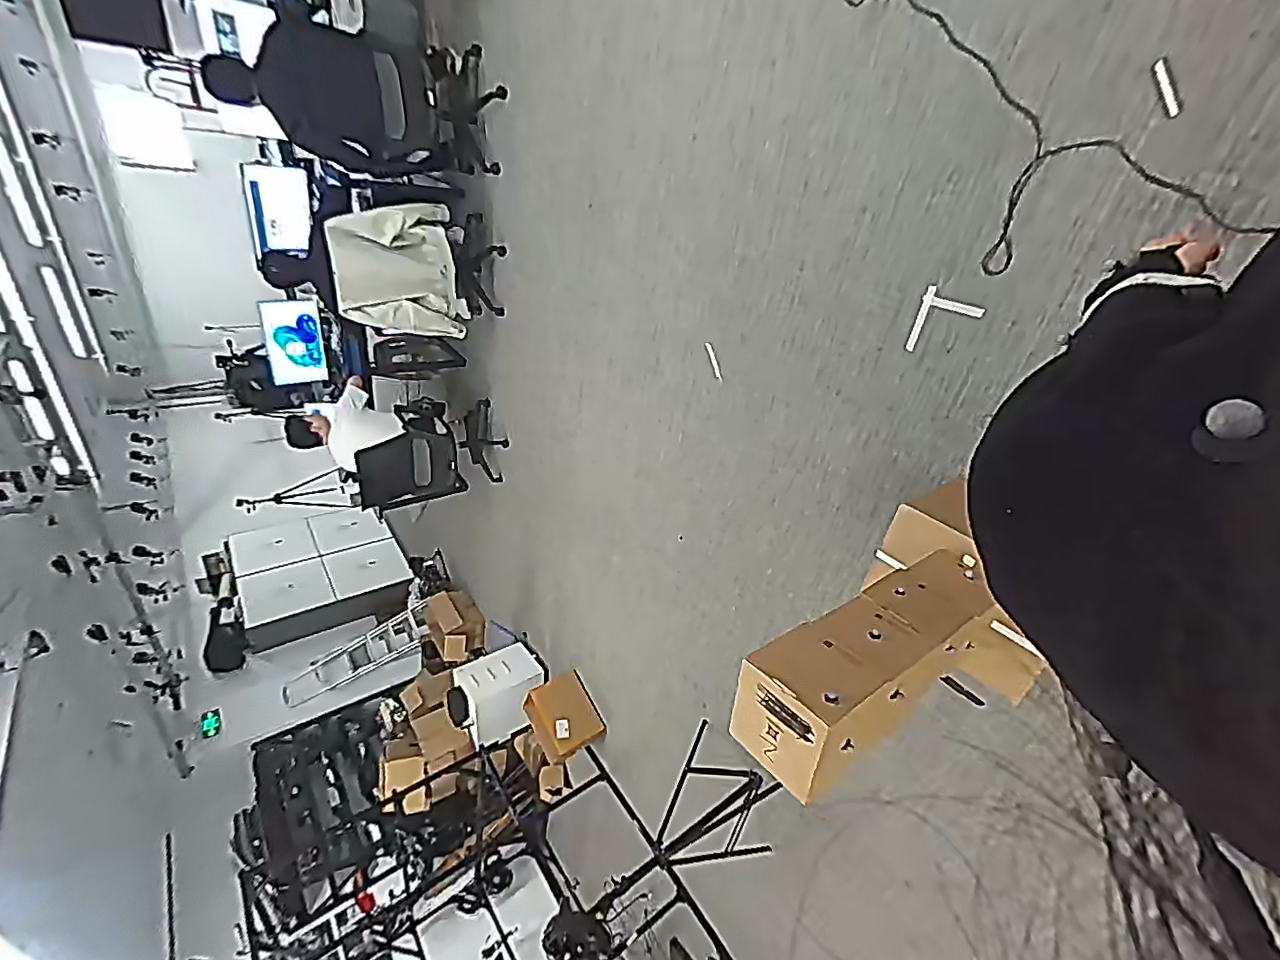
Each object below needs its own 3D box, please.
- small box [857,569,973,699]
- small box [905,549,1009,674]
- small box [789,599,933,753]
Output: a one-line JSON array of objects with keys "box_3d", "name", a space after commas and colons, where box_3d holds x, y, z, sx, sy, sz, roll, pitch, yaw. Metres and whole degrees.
[{"box_3d": [0.534, 0.307, 1.089, 0.168, 0.176, 0.179, 37, 131, 42], "name": "small box"}, {"box_3d": [0.665, 0.280, 1.182, 0.168, 0.176, 0.179, 37, 130, 41], "name": "small box"}, {"box_3d": [0.406, 0.347, 0.994, 0.168, 0.176, 0.179, 33, 127, 45], "name": "small box"}]
